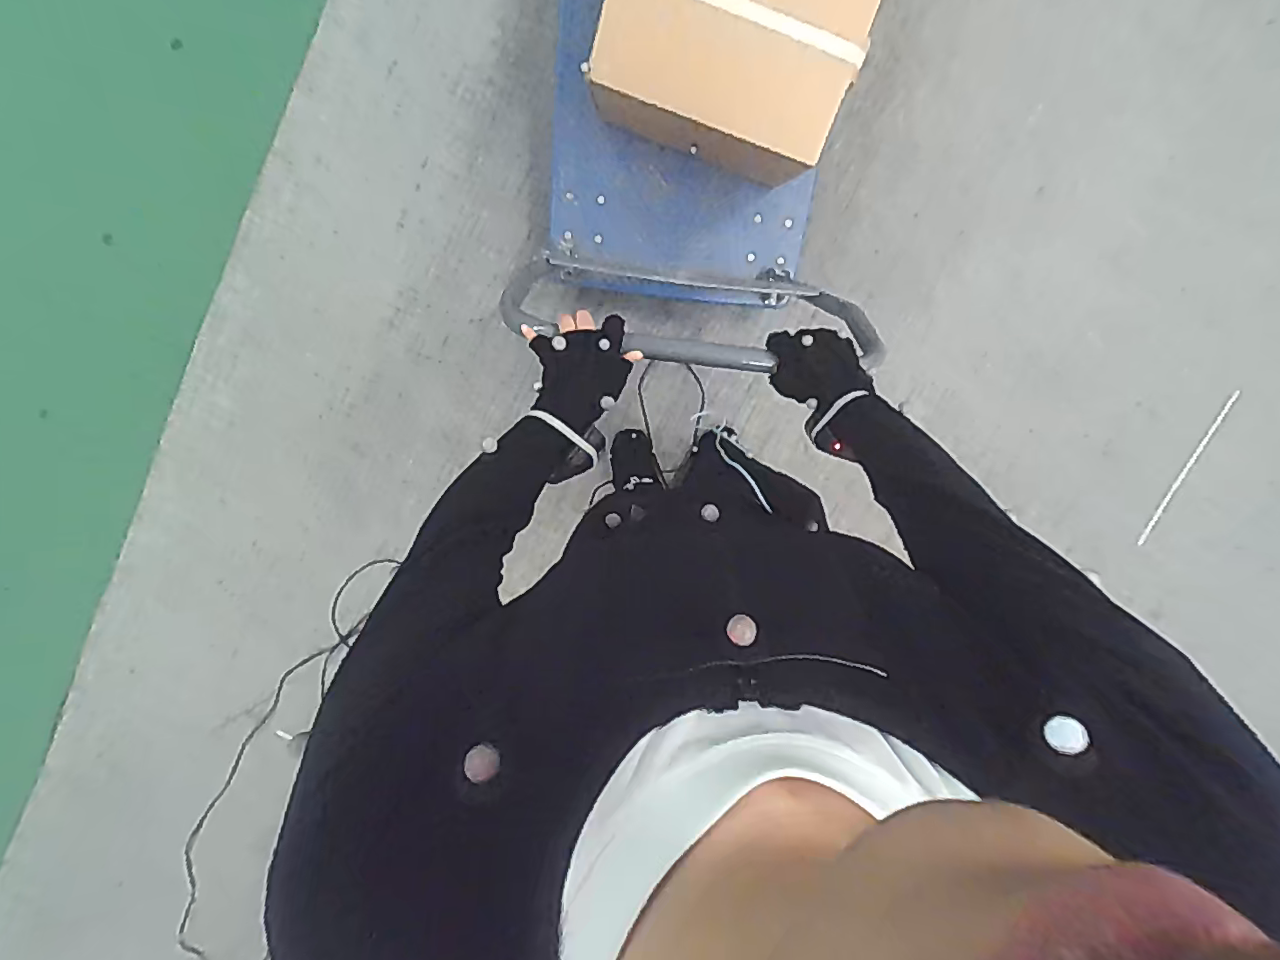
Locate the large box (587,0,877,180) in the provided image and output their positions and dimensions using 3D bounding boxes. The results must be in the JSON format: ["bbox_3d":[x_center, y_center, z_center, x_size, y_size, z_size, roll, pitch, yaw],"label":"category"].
[{"bbox_3d":[0.154,-0.777,0.967,0.408,0.320,0.320,18,112,-6],"label":"large box"}]
